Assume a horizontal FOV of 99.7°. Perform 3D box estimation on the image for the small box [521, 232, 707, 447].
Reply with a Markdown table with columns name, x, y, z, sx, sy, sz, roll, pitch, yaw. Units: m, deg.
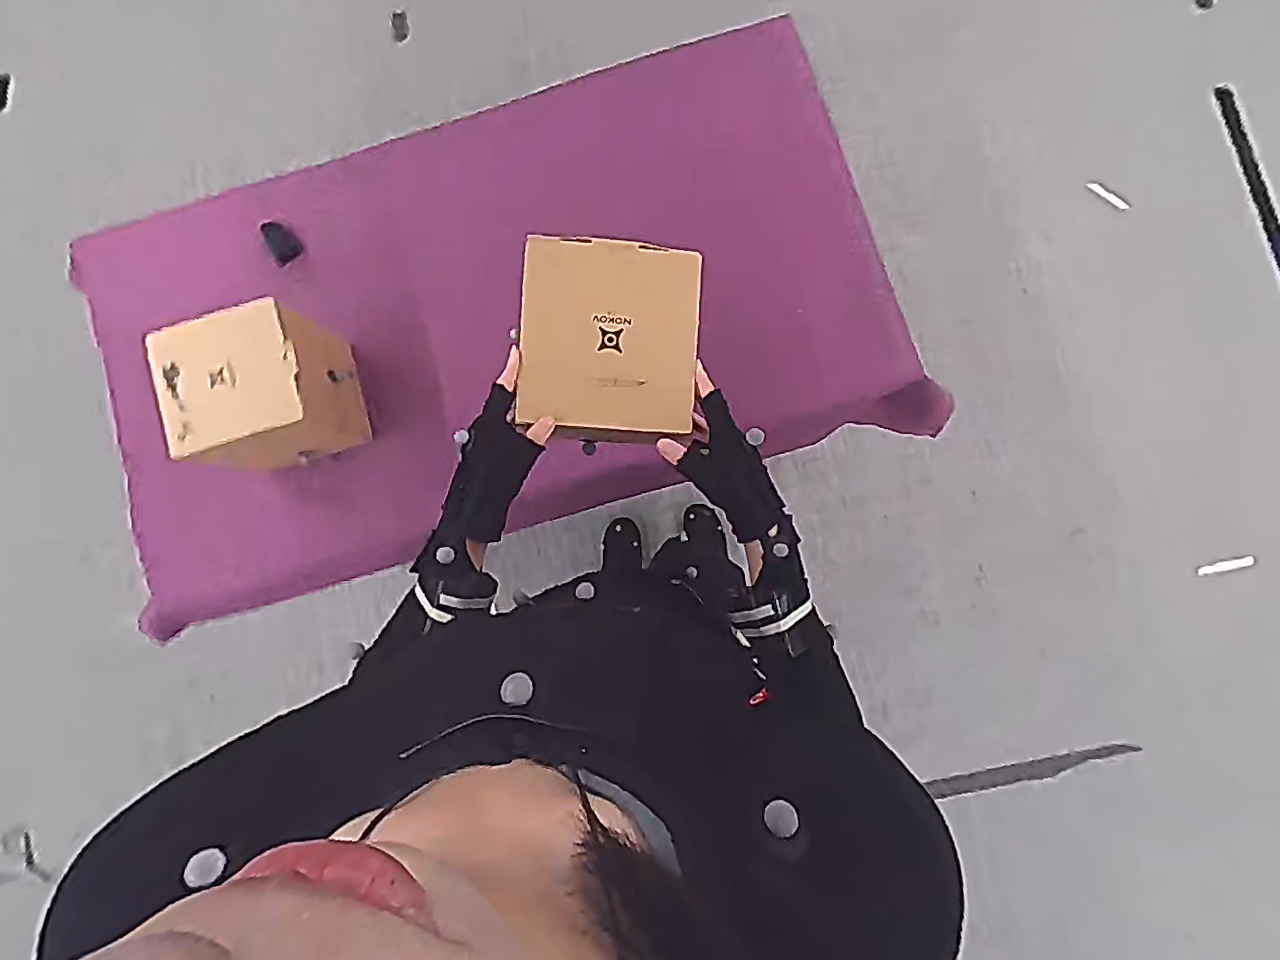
| name | x | y | z | sx | sy | sz | roll | pitch | yaw |
| --- | --- | --- | --- | --- | --- | --- | --- | --- | --- |
| small box | -0.031 | -0.133 | 0.576 | 0.168 | 0.176 | 0.179 | 3 | 89 | -5 |

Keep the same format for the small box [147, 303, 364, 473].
| name | x | y | z | sx | sy | sz | roll | pitch | yaw |
| --- | --- | --- | --- | --- | --- | --- | --- | --- | --- |
| small box | -0.513 | -0.116 | 0.752 | 0.179 | 0.176 | 0.168 | -17 | 84 | -1 |
